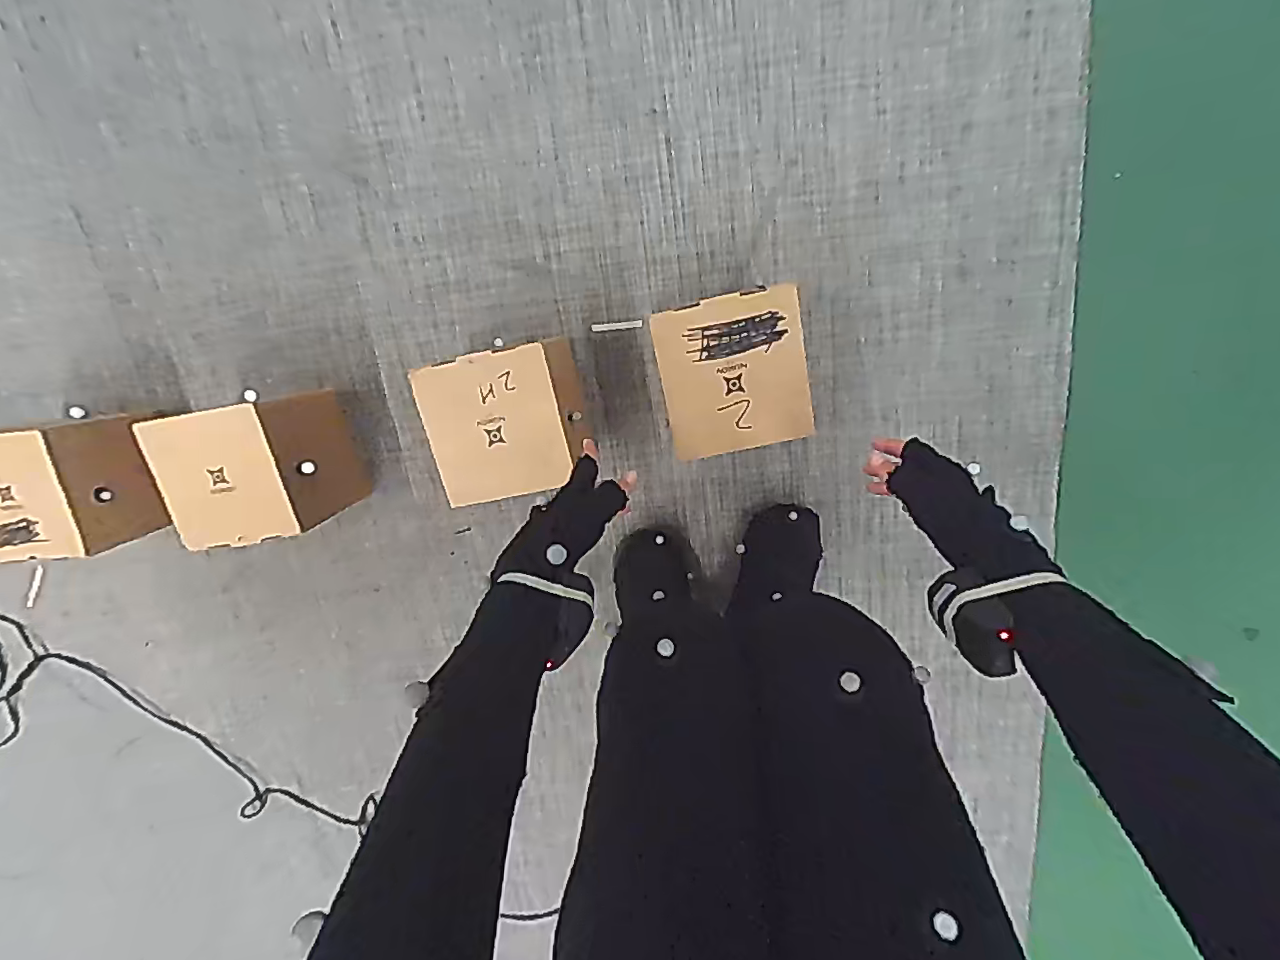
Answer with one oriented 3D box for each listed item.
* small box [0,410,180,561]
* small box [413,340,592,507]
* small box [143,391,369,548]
[{"bbox_3d":[-0.810,0.001,0.785,0.168,0.176,0.179,-4,105,4],"label":"small box"},{"bbox_3d":[-0.168,-0.084,0.728,0.168,0.176,0.179,-11,106,5],"label":"small box"},{"bbox_3d":[-0.522,-0.025,0.764,0.168,0.176,0.179,-9,106,6],"label":"small box"}]
